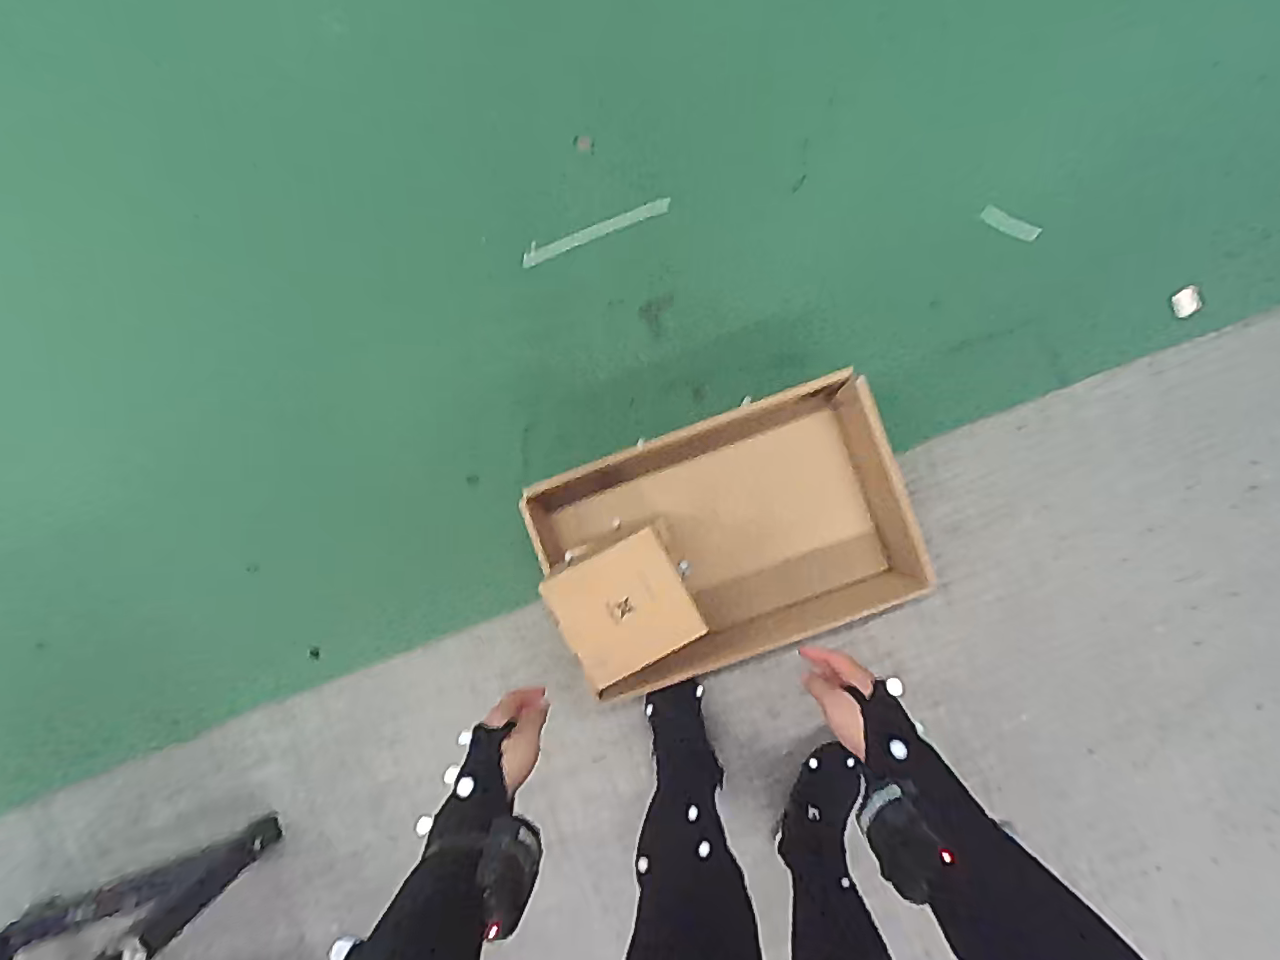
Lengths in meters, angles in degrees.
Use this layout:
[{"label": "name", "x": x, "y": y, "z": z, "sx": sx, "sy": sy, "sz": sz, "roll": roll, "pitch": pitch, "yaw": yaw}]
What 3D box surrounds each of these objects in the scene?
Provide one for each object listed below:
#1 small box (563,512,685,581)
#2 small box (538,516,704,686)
[{"label": "small box", "x": -0.020, "y": 0.163, "z": 0.969, "sx": 0.179, "sy": 0.176, "sz": 0.168, "roll": -19, "pitch": 91, "yaw": 2}, {"label": "small box", "x": -0.026, "y": 0.167, "z": 0.805, "sx": 0.179, "sy": 0.176, "sz": 0.168, "roll": -29, "pitch": 92, "yaw": -1}]
